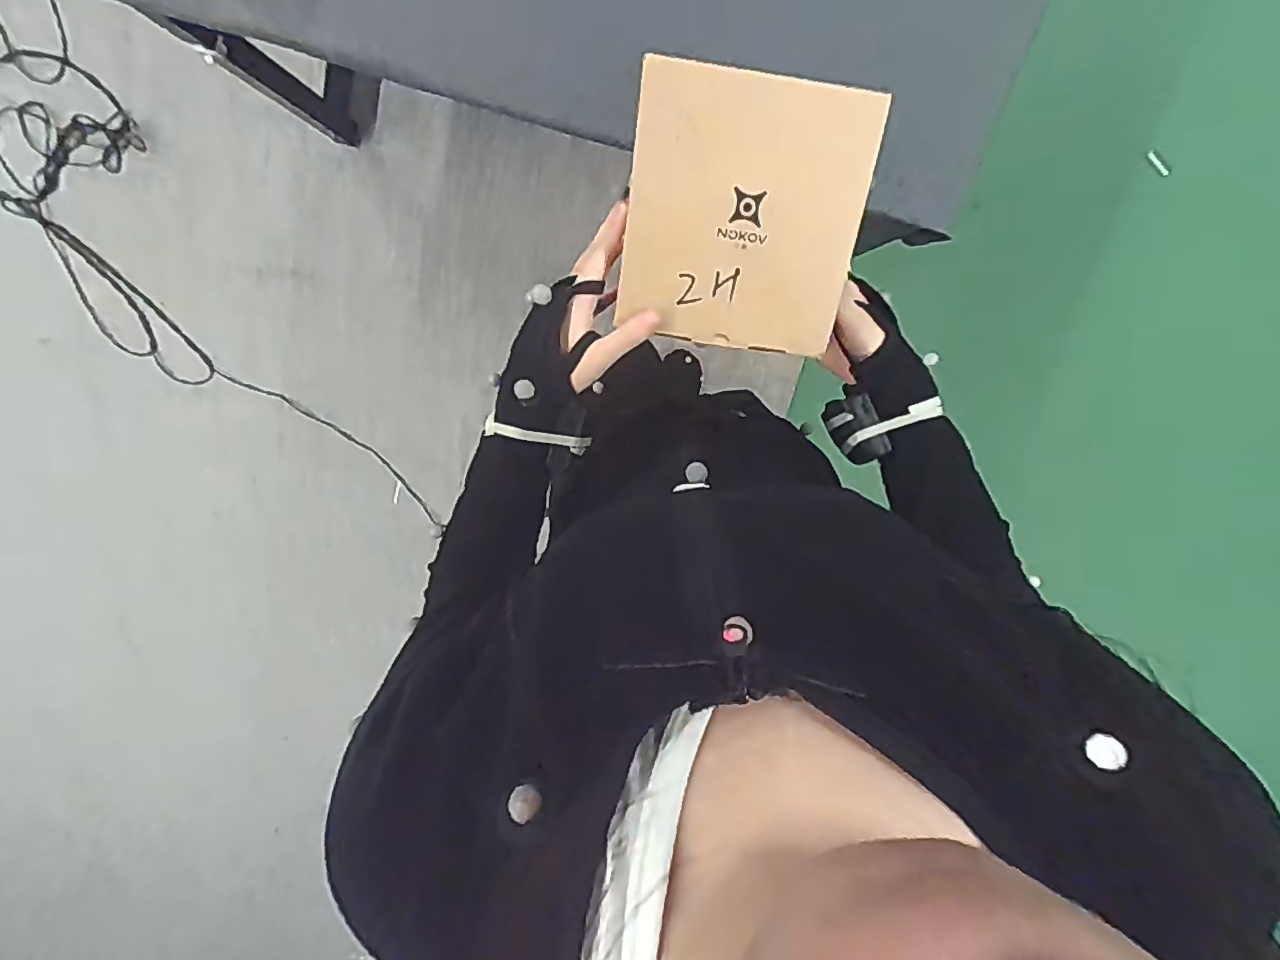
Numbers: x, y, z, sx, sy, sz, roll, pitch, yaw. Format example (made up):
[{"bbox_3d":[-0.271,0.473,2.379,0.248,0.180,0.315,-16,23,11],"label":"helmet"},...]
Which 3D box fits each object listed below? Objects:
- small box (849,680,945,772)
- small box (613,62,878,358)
[{"bbox_3d":[0.745,0.715,1.590,0.179,0.176,0.168,14,103,-4],"label":"small box"},{"bbox_3d":[0.071,-0.213,0.463,0.168,0.176,0.179,7,111,-1],"label":"small box"}]
